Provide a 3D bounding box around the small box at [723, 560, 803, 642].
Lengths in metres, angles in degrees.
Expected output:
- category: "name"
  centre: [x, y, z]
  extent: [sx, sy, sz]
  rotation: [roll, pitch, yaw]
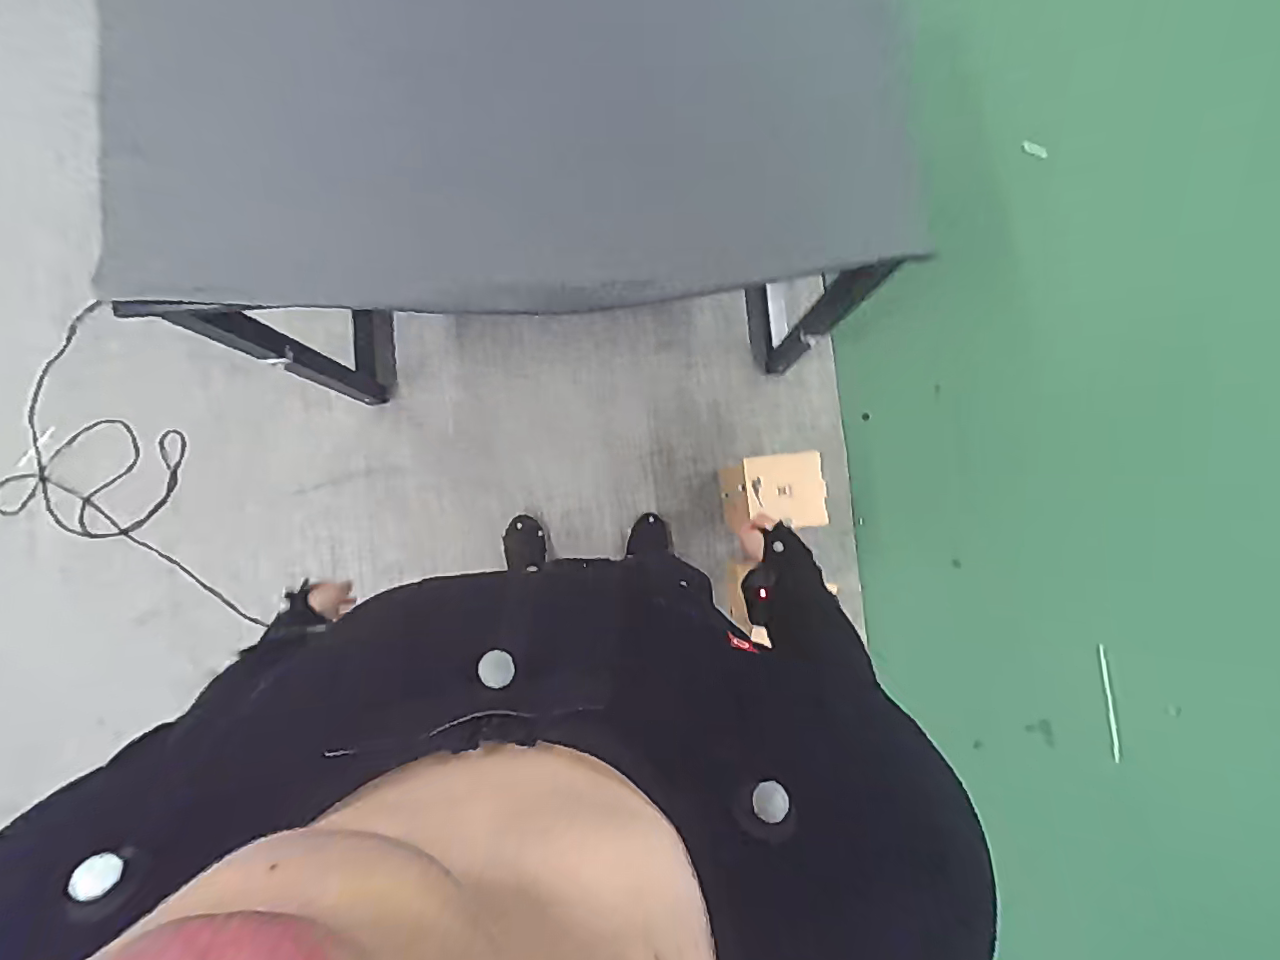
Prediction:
- category: "small box"
  centre: [0.314, 0.309, 1.411]
  extent: [0.168, 0.176, 0.179]
  rotation: [4, 86, -1]
